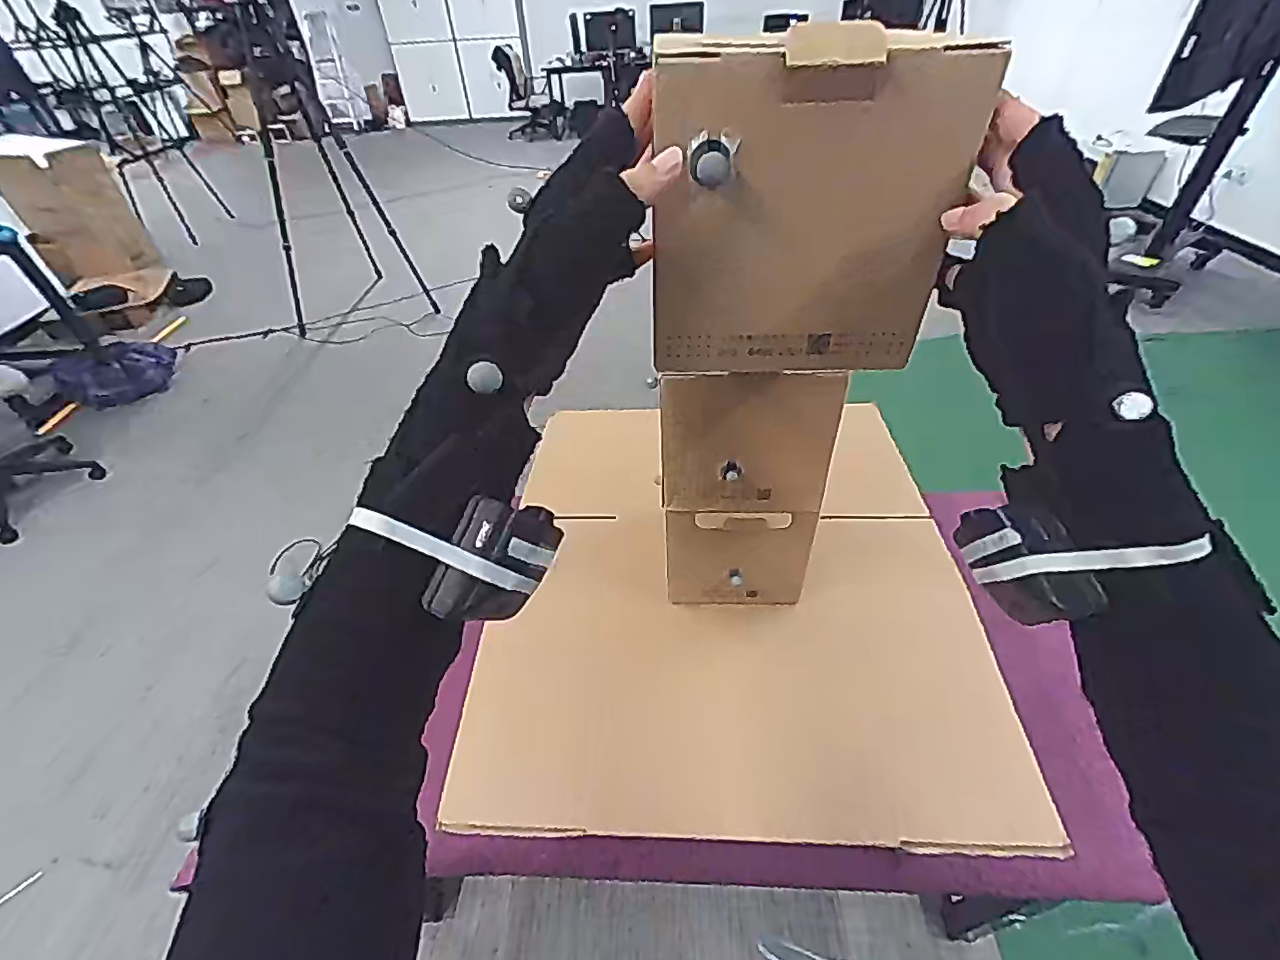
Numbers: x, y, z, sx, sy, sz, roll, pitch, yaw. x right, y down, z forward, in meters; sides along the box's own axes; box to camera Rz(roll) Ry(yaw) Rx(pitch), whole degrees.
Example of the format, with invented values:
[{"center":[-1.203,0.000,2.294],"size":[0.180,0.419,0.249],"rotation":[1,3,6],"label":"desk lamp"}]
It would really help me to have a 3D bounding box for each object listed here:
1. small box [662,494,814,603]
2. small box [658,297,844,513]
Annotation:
[{"center":[0.114,0.037,0.698],"size":[0.168,0.176,0.179],"rotation":[-1,42,5],"label":"small box"},{"center":[0.104,-0.085,0.589],"size":[0.168,0.176,0.179],"rotation":[0,42,4],"label":"small box"}]
